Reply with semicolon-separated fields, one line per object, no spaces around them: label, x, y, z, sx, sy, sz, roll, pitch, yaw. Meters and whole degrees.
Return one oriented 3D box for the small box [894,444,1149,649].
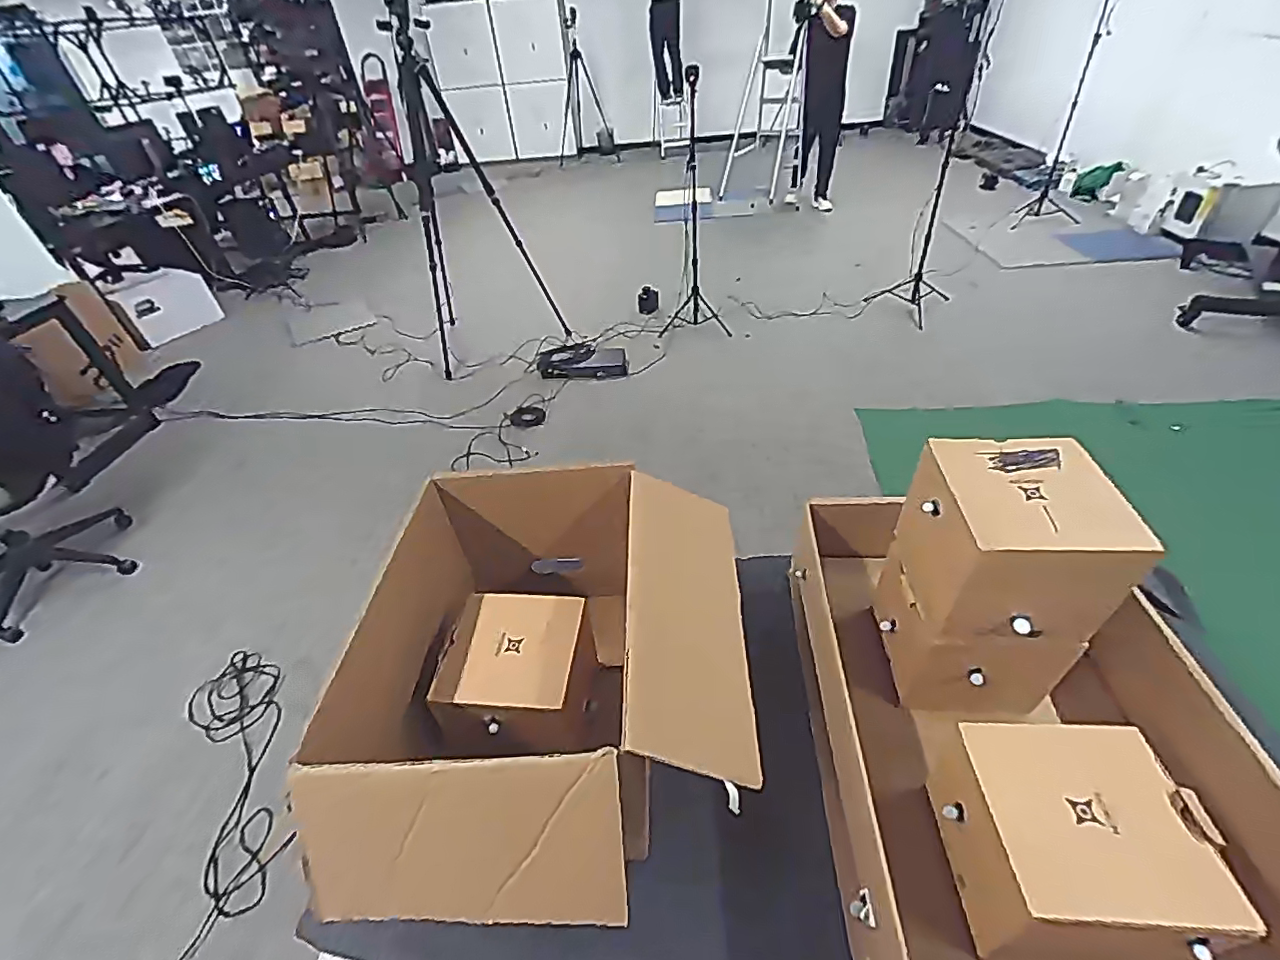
small box;0.421;0.076;0.641;0.168;0.176;0.179;0;43;7
